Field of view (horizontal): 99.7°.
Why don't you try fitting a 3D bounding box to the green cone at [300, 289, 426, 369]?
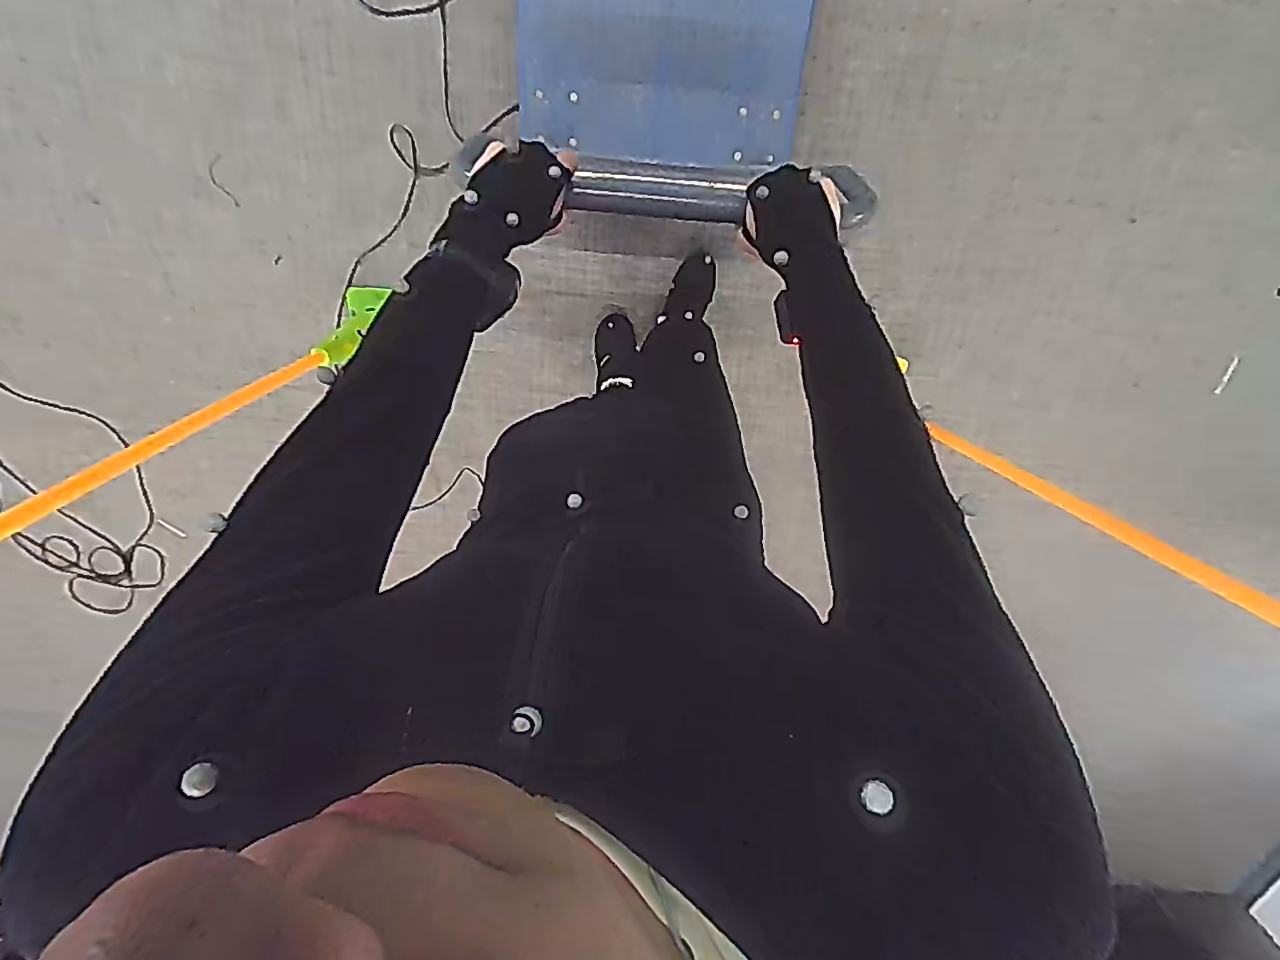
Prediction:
[{"bbox_3d":[-0.698,-0.339,1.315,0.202,0.368,0.200,2,116,1],"label":"green cone"}]
